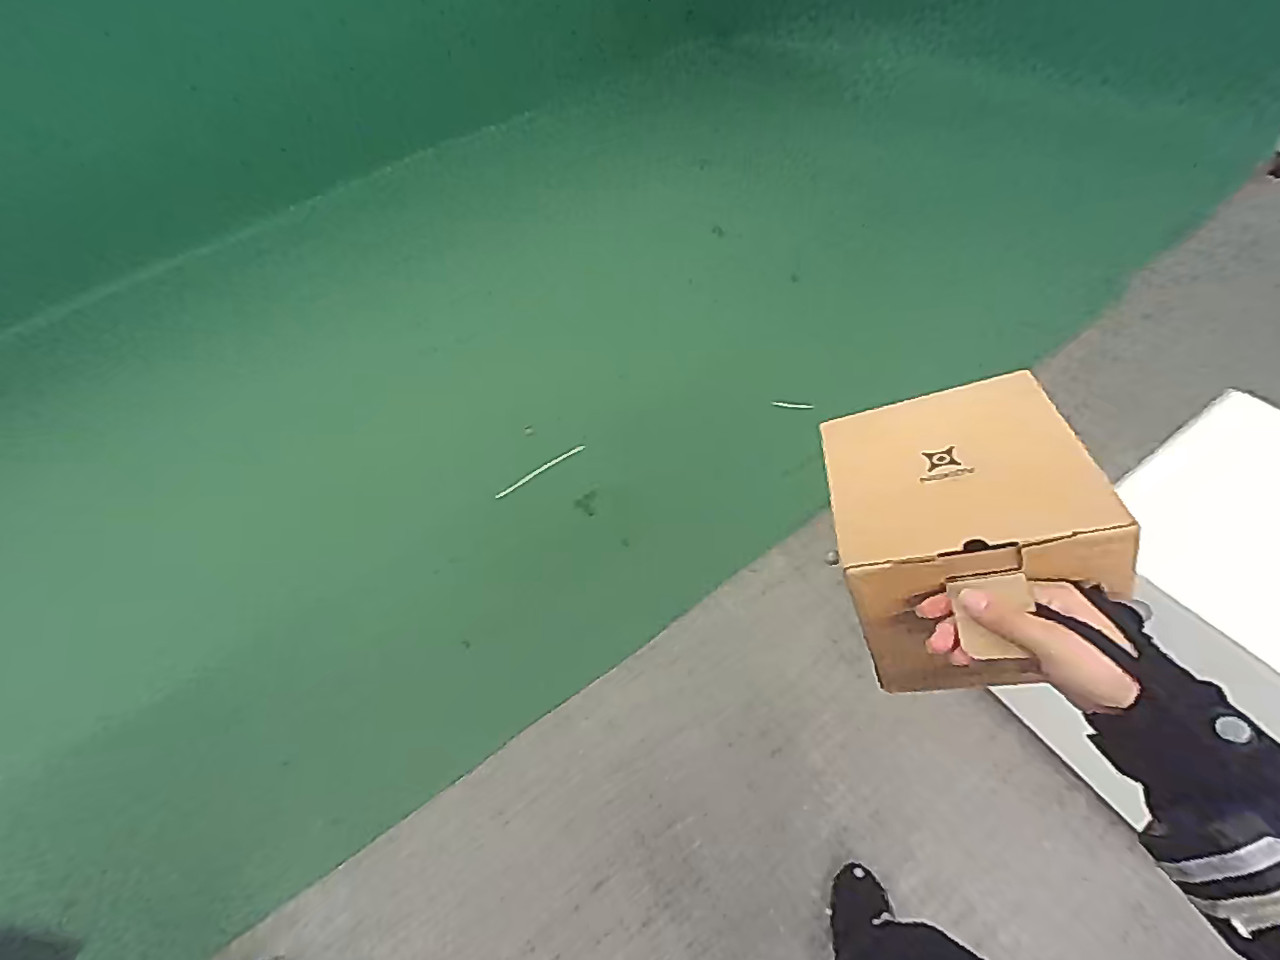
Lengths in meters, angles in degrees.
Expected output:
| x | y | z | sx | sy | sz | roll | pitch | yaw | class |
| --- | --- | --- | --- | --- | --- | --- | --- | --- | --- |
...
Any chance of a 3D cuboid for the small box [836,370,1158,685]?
| x | y | z | sx | sy | sz | roll | pitch | yaw | class |
| --- | --- | --- | --- | --- | --- | --- | --- | --- | --- |
| 0.269 | 0.043 | 0.445 | 0.168 | 0.176 | 0.179 | -14 | 38 | 23 | small box |
